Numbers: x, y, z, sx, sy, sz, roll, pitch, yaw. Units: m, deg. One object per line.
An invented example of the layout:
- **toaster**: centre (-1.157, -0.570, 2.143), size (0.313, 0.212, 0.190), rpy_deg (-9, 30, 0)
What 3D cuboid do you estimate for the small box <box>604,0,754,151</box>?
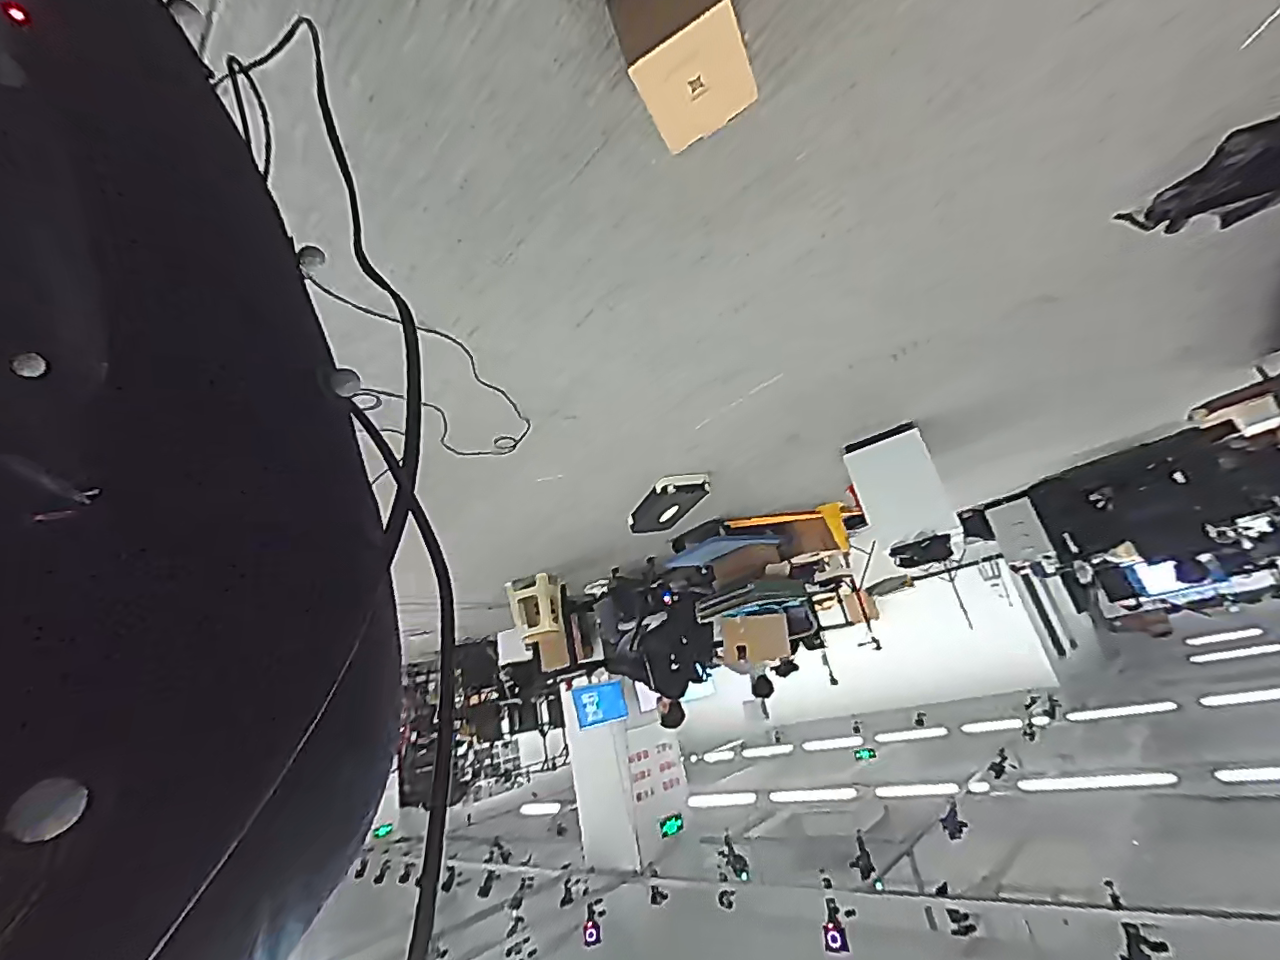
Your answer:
- **small box**: centre (0.064, -0.691, 0.868), size (0.168, 0.176, 0.179), rpy_deg (-23, 157, 21)
